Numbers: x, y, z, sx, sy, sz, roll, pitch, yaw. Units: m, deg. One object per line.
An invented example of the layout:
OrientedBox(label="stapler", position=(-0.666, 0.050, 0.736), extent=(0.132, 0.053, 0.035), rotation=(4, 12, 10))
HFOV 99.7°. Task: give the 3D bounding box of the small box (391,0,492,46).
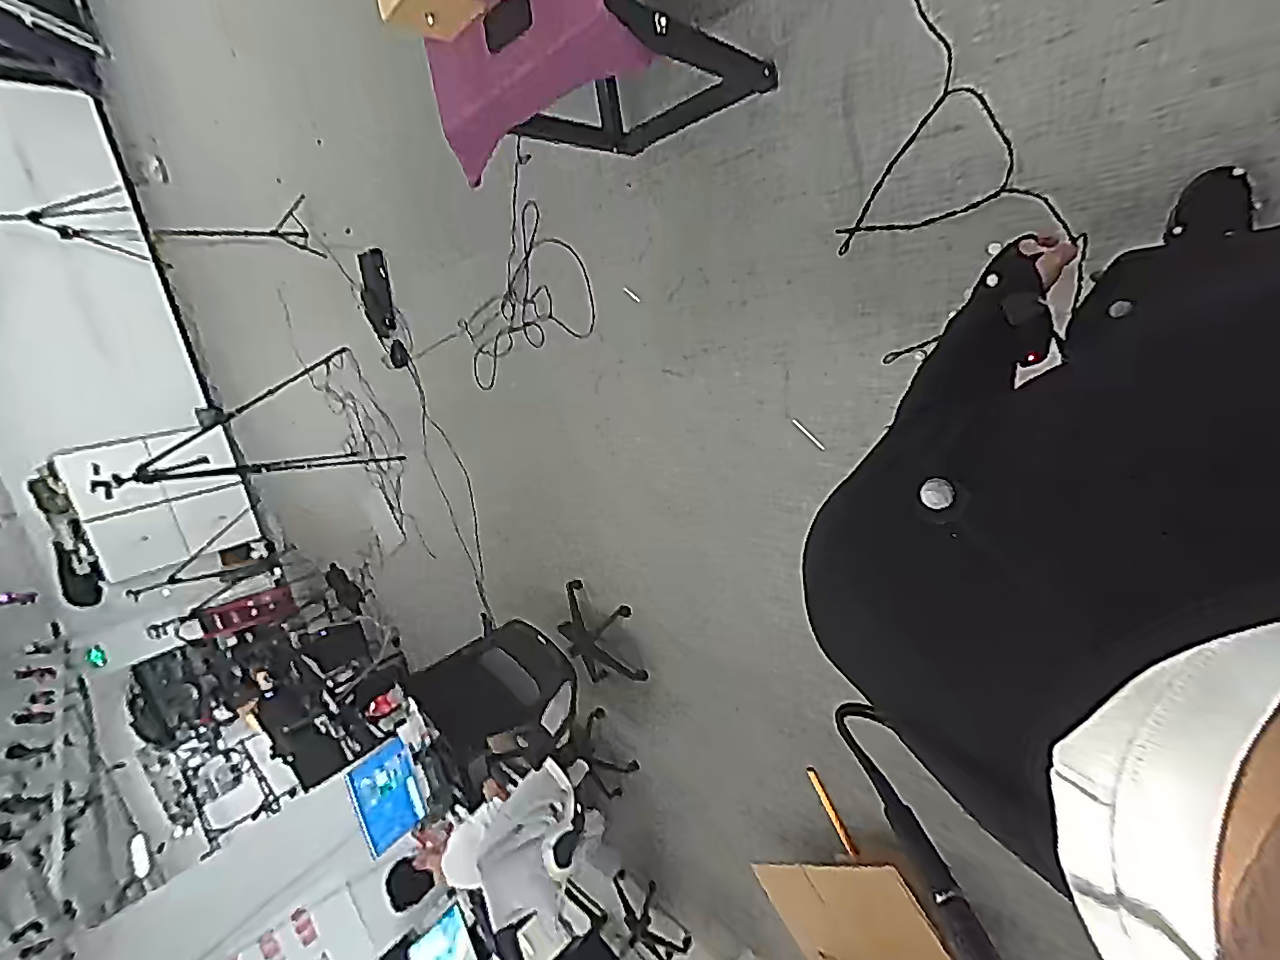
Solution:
OrientedBox(label="small box", position=(-0.445, -1.112, 1.199), extent=(0.179, 0.176, 0.168), rotation=(5, 111, 45))
